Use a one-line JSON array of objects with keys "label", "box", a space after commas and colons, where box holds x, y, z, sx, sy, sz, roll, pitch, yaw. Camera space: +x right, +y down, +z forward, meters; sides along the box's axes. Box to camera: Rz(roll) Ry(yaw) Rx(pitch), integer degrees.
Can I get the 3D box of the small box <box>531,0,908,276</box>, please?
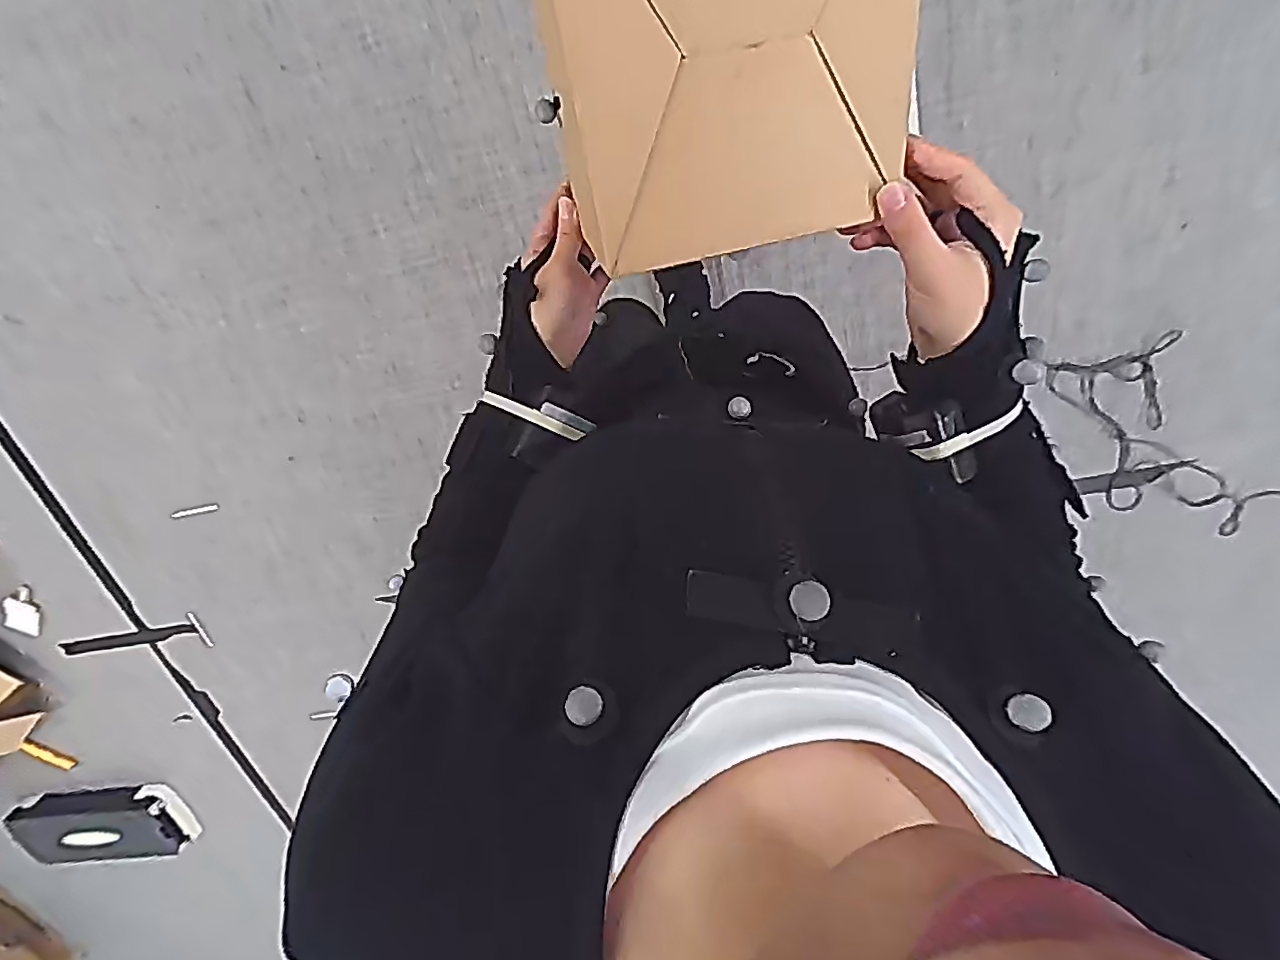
[{"label": "small box", "box": [0.035, -0.239, 0.313, 0.168, 0.176, 0.179, -14, 124, -4]}]
